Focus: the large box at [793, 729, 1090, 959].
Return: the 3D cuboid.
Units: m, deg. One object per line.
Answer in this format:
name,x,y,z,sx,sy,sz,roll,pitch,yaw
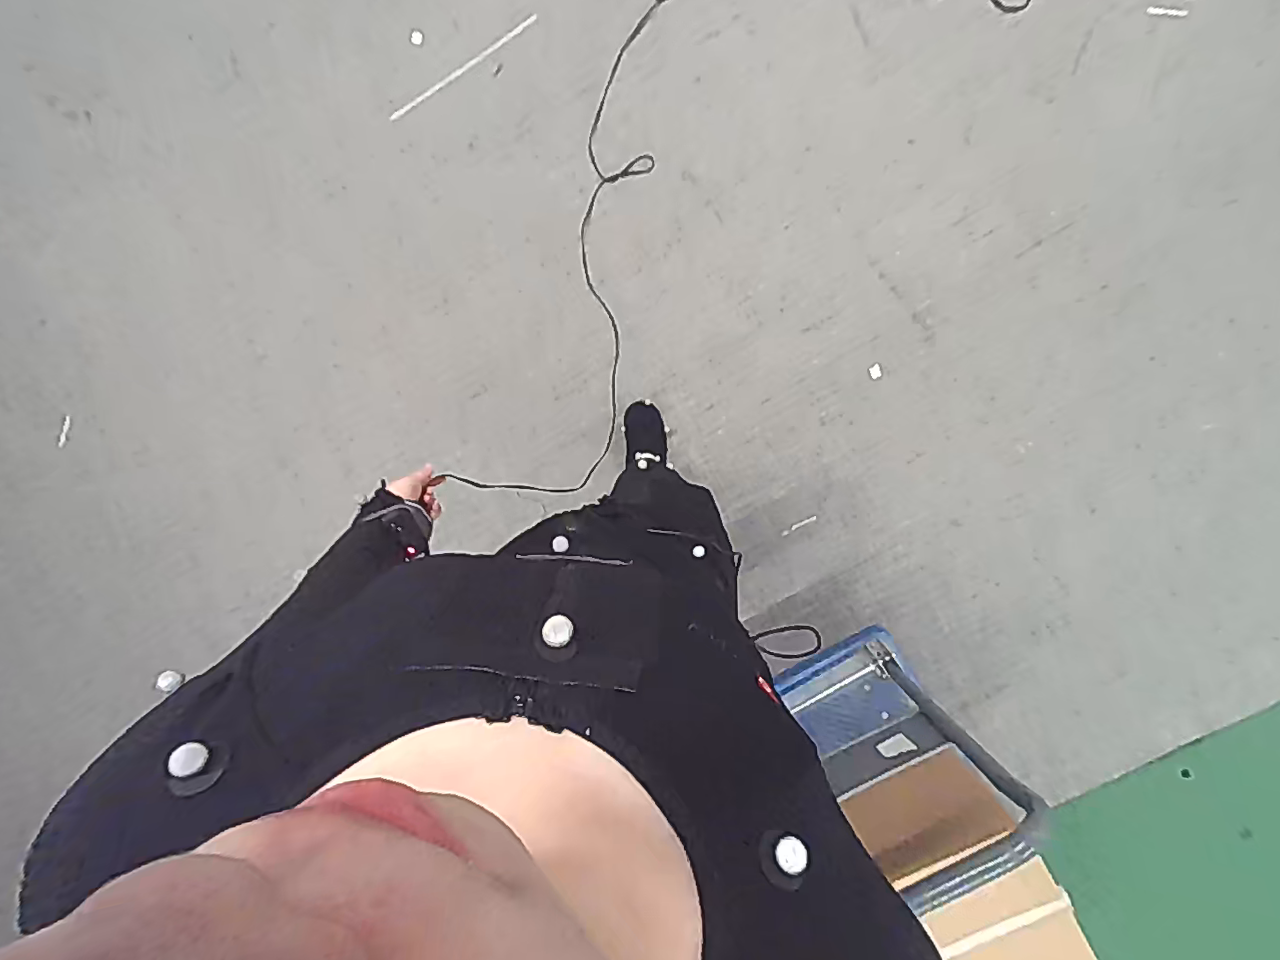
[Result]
large box,0.604,0.823,1.164,0.408,0.320,0.320,-29,89,6
